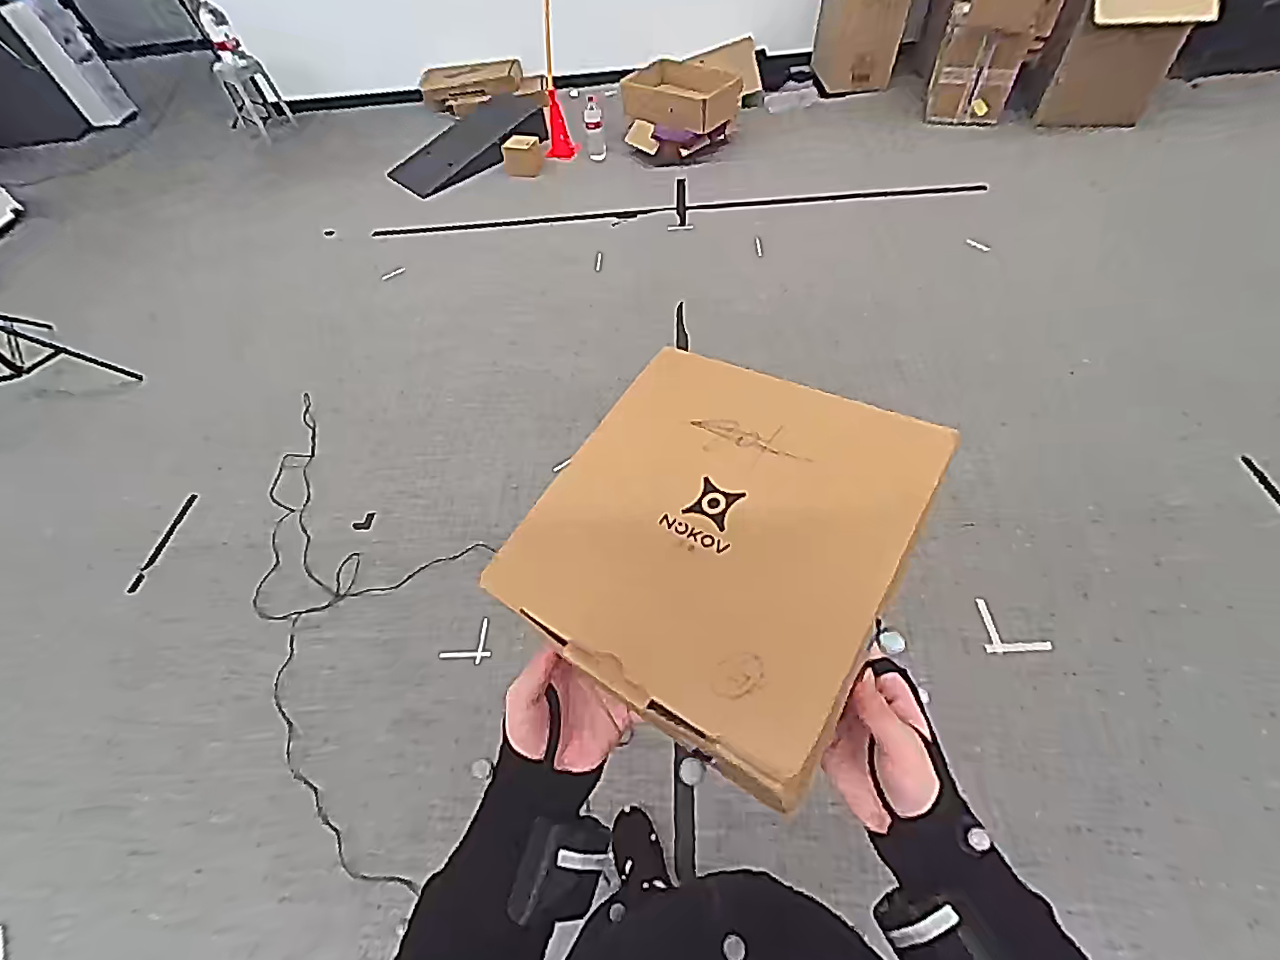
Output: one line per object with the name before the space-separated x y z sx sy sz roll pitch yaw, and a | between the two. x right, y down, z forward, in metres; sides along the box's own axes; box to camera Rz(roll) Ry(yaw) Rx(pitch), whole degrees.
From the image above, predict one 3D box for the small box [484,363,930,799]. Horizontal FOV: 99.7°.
small box | 0.048 0.064 0.331 0.168 0.176 0.179 24 65 27
